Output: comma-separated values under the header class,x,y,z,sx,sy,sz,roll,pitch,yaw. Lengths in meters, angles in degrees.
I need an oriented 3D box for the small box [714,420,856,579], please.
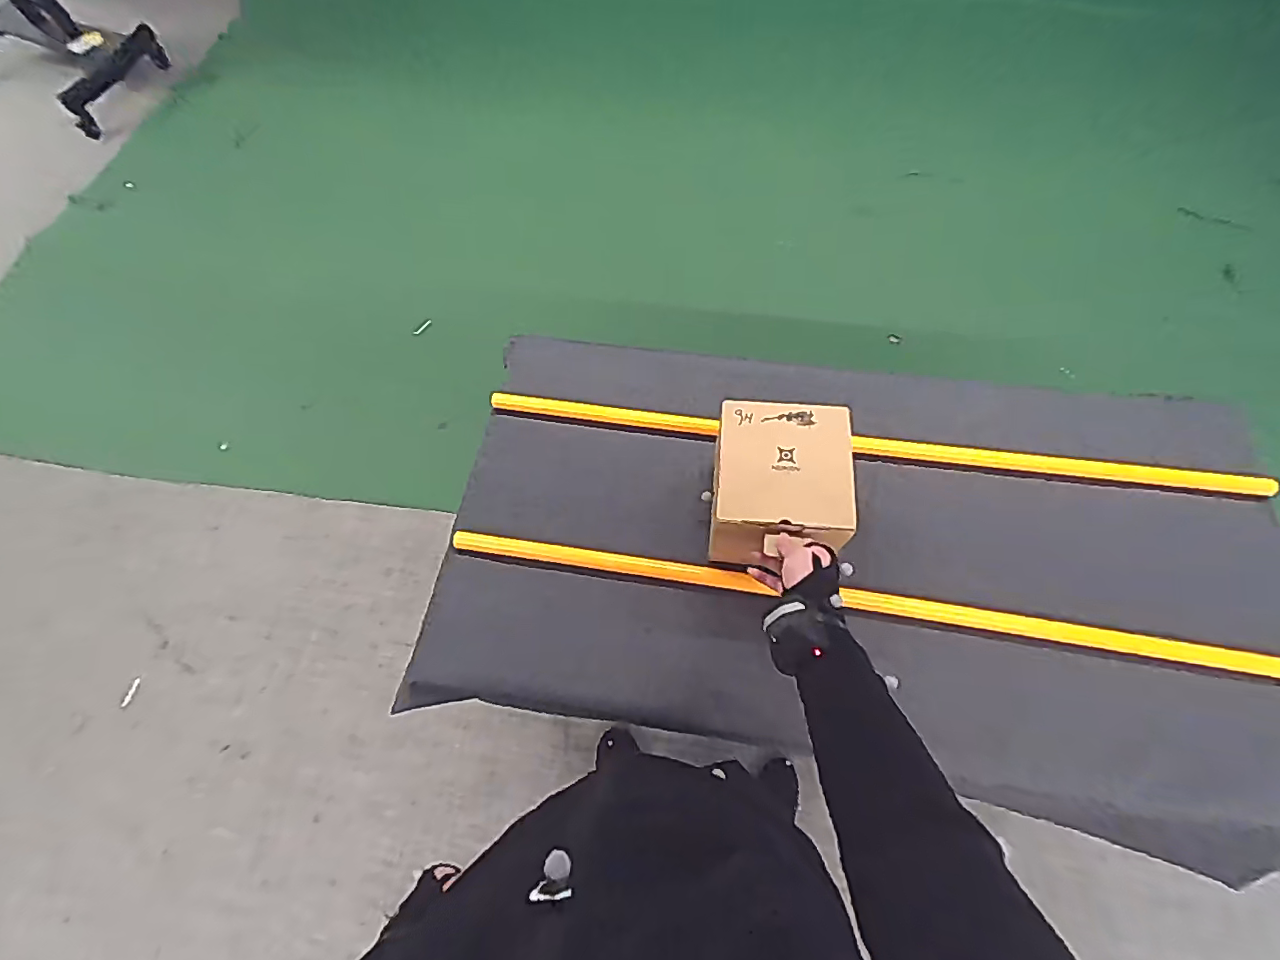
class,x,y,z,sx,sy,sz,roll,pitch,yaw
small box,0.190,0.033,0.754,0.168,0.176,0.179,1,64,6
